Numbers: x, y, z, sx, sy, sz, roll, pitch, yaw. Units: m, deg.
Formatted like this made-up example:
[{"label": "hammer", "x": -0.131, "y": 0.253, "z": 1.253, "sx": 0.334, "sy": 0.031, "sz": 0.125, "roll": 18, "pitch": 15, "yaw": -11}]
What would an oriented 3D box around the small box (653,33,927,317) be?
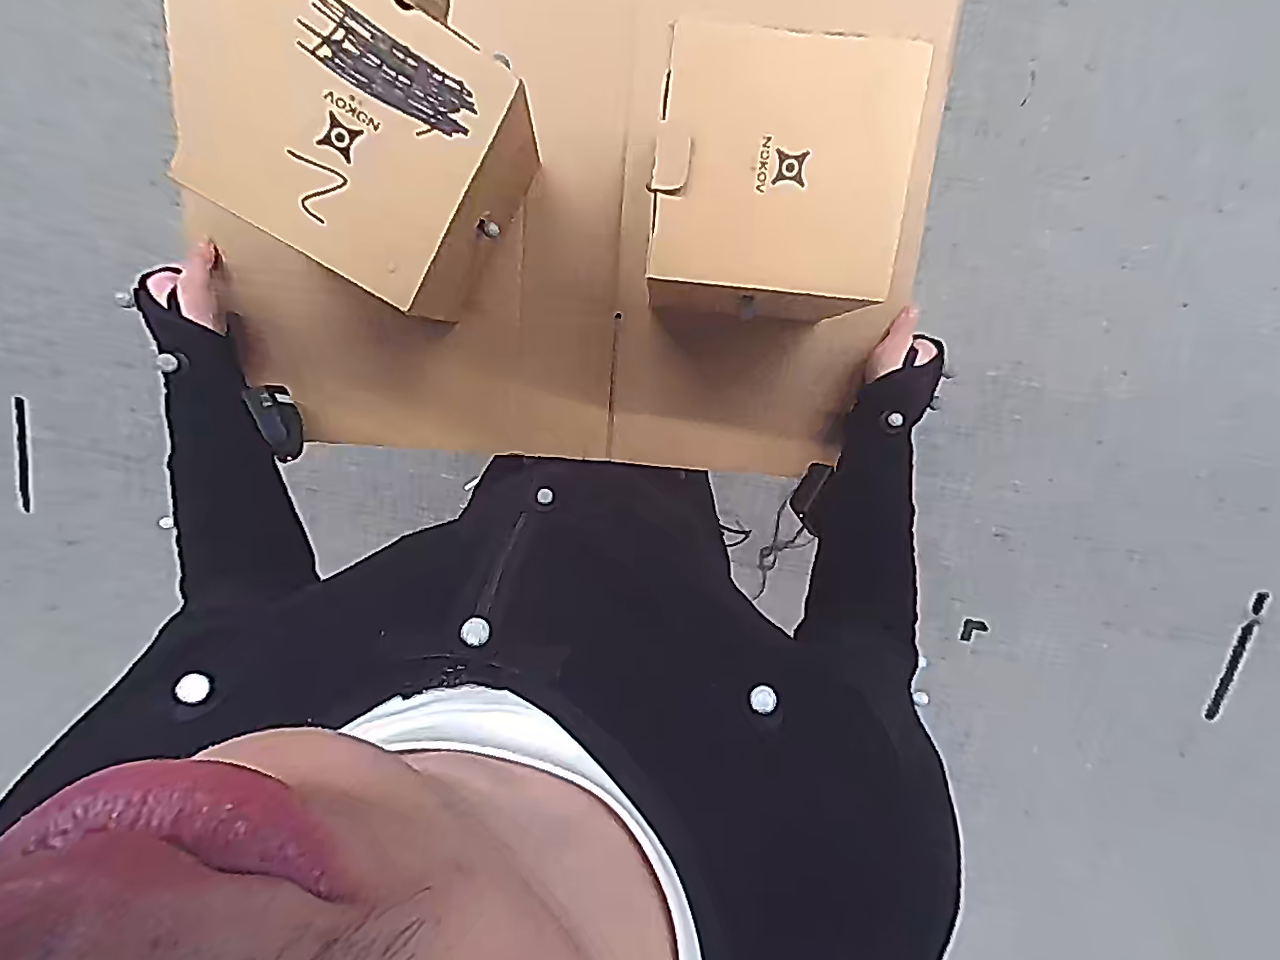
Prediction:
[{"label": "small box", "x": 0.107, "y": -0.237, "z": 0.468, "sx": 0.179, "sy": 0.176, "sz": 0.168, "roll": 6, "pitch": 102, "yaw": 2}]
